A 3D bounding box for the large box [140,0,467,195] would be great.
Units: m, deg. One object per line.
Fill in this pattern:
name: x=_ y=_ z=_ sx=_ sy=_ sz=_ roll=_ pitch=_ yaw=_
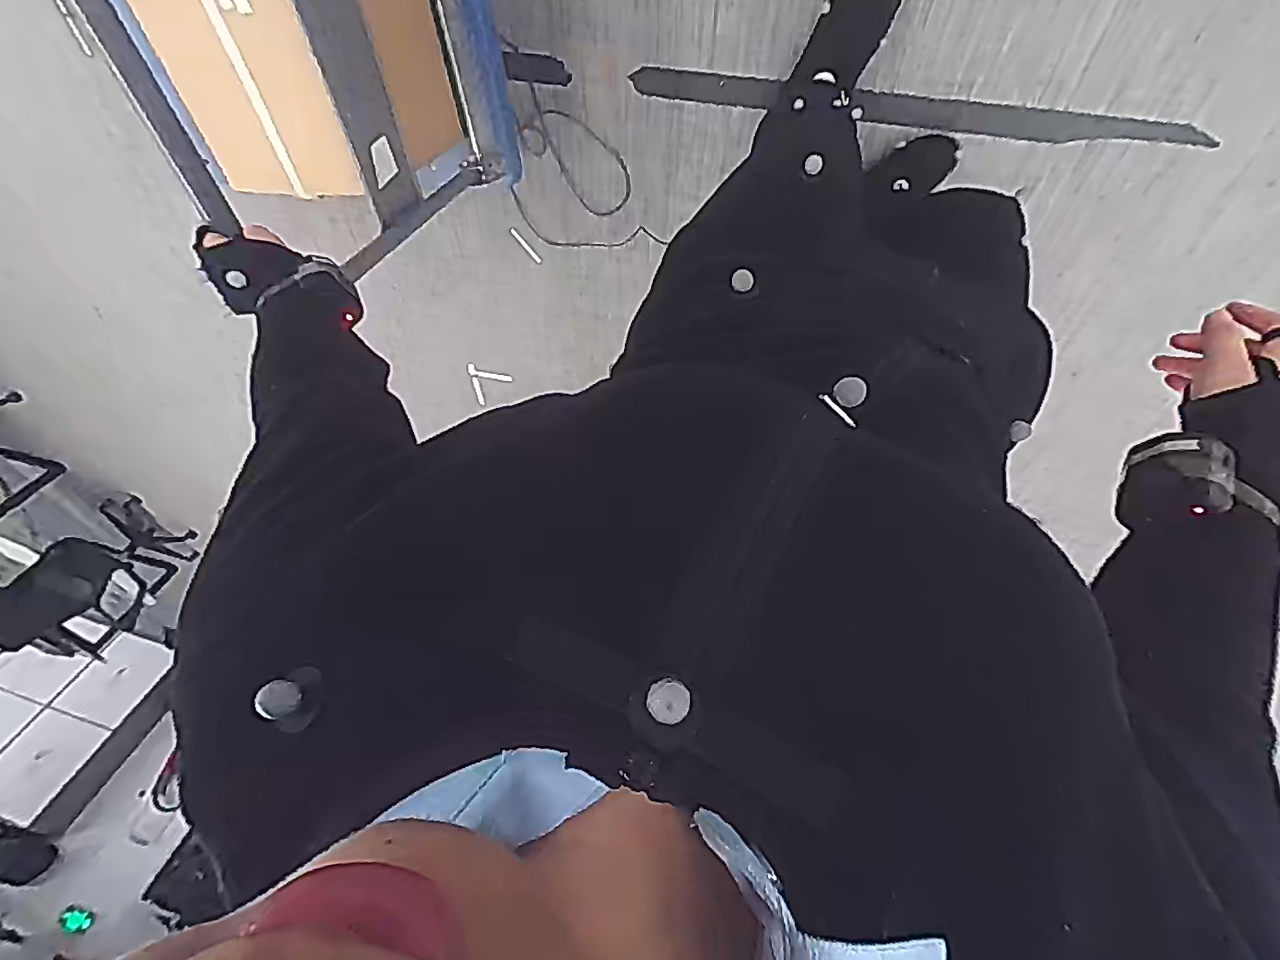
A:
large box: x=-0.547 y=-0.742 z=0.907 sx=0.320 sy=0.320 sz=0.408 roll=8 pitch=137 yaw=12
